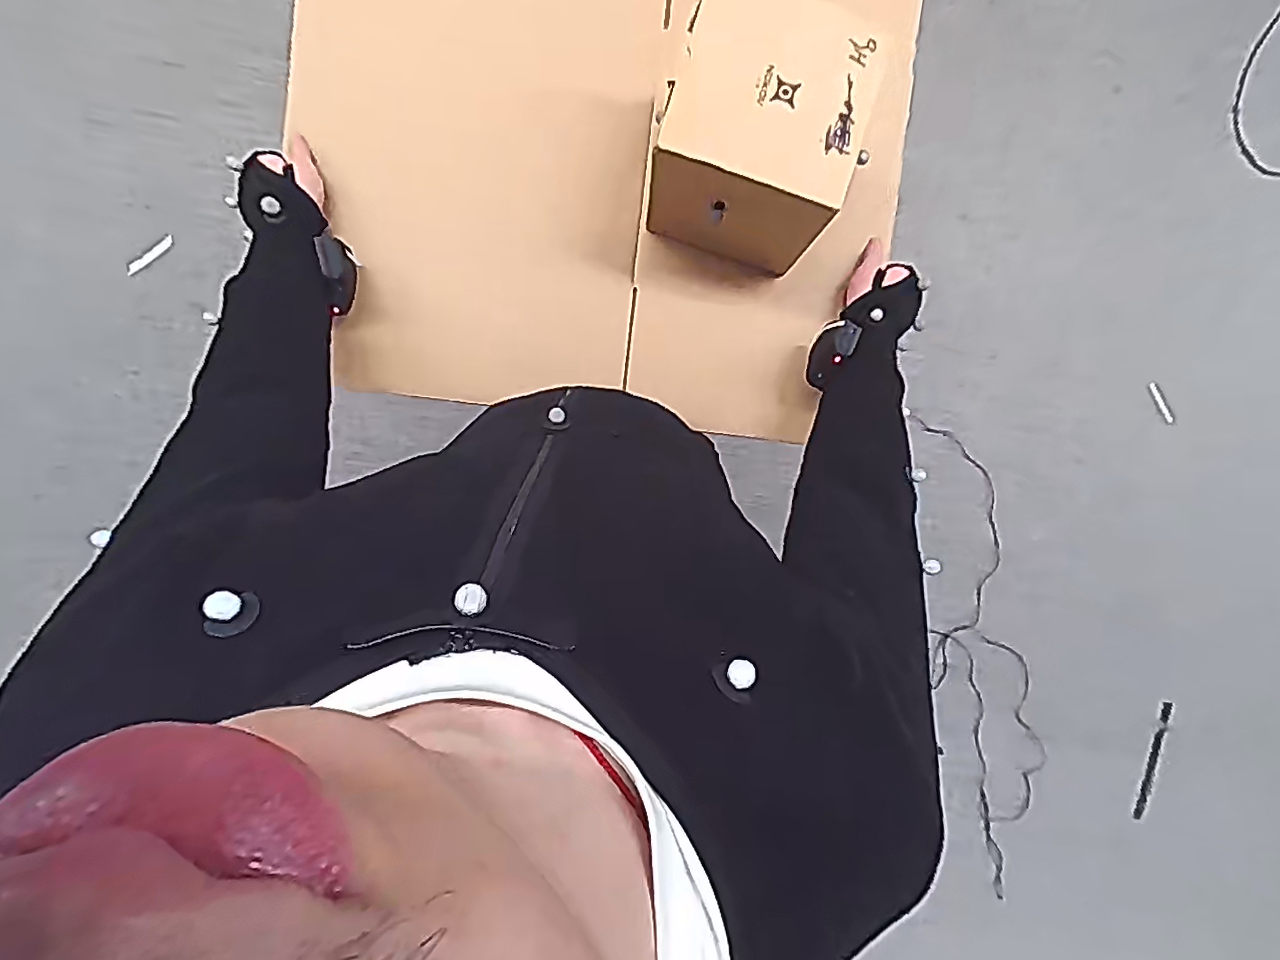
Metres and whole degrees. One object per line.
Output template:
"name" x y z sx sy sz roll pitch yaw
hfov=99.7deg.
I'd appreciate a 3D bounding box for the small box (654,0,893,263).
"small box" 0.118 -0.350 0.558 0.179 0.176 0.168 17 92 -1
